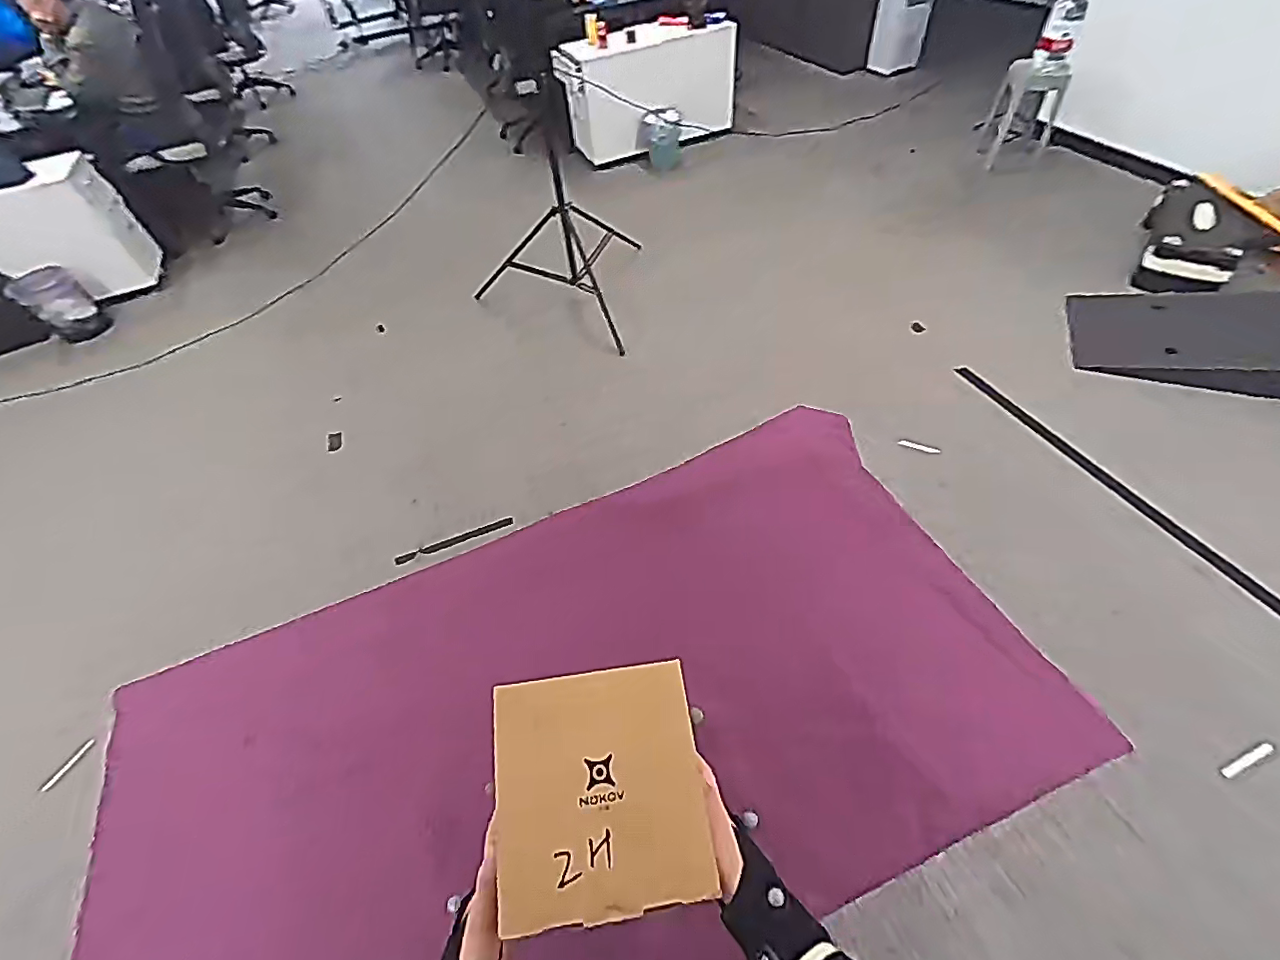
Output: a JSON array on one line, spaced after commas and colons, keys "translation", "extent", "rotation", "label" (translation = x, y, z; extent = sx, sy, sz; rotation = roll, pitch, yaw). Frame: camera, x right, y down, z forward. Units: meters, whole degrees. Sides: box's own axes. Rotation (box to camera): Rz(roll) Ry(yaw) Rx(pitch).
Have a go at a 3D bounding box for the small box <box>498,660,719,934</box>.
[{"translation": [-0.036, 0.284, 0.504], "extent": [0.168, 0.176, 0.179], "rotation": [-6, 60, -6], "label": "small box"}]
